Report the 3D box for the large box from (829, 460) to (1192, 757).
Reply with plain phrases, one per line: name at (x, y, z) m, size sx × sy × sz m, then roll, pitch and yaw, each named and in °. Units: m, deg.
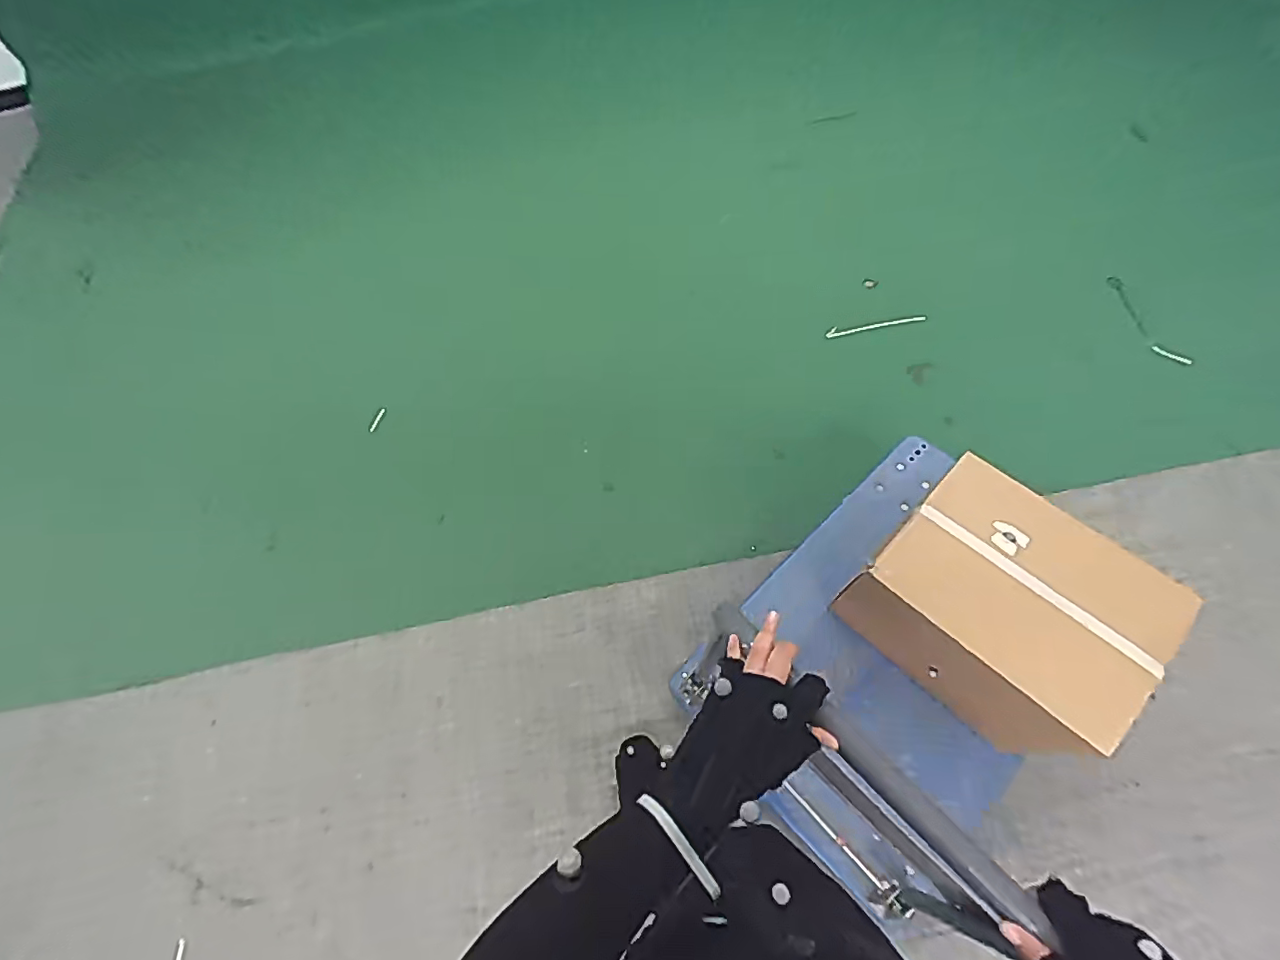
large box at (0.636, 0.245, 1.011) m, size 0.320 × 0.320 × 0.408 m, roll -43°, pitch 66°, yaw -15°
